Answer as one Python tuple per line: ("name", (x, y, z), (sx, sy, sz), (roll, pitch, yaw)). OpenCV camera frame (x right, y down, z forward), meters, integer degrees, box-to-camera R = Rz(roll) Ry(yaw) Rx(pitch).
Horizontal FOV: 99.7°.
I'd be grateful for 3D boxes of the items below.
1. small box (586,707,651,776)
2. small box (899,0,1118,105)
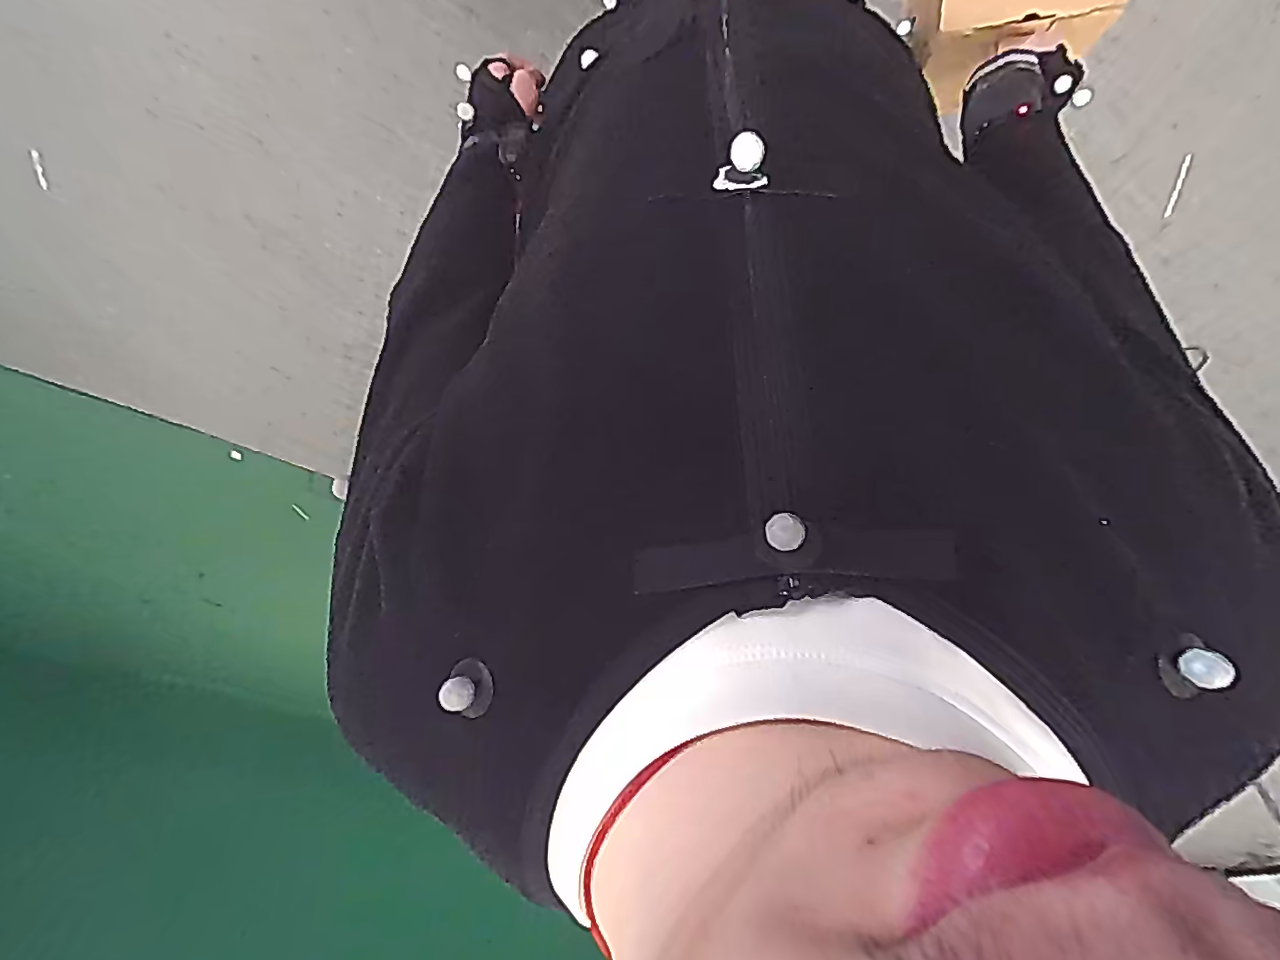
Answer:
("small box", (-0.071, 0.922, 1.908), (0.168, 0.176, 0.179), (26, 134, -19))
("small box", (0.400, -0.550, 0.603), (0.168, 0.176, 0.179), (3, 98, 11))
